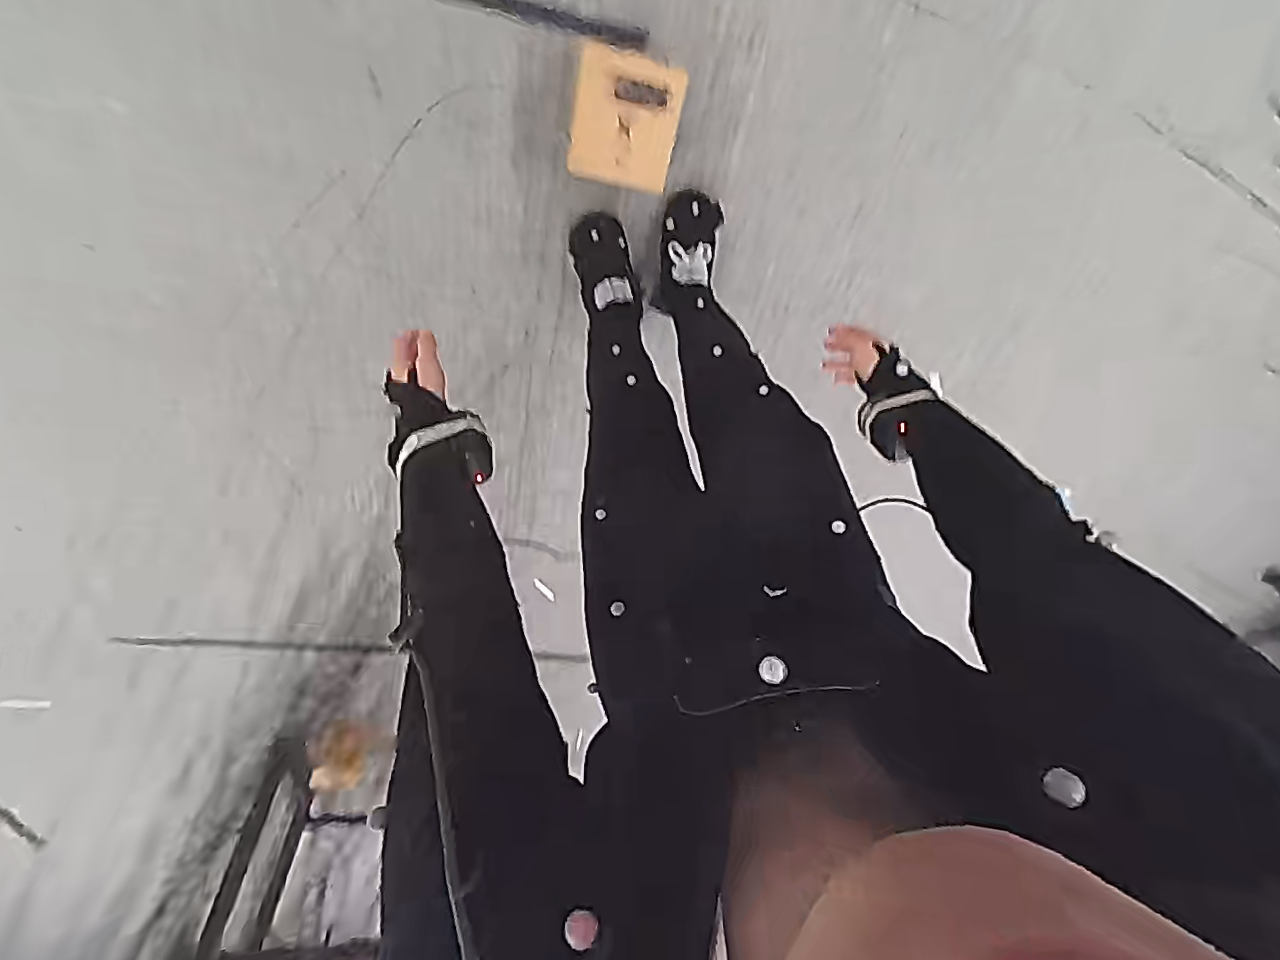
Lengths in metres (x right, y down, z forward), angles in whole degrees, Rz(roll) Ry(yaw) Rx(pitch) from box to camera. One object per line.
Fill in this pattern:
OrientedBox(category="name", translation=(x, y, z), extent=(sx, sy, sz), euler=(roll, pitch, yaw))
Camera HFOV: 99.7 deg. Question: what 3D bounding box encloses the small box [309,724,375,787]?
OrientedBox(category="small box", translation=(-1.203, 1.113, 2.190), extent=(0.179, 0.176, 0.168), euler=(20, 123, -24))
